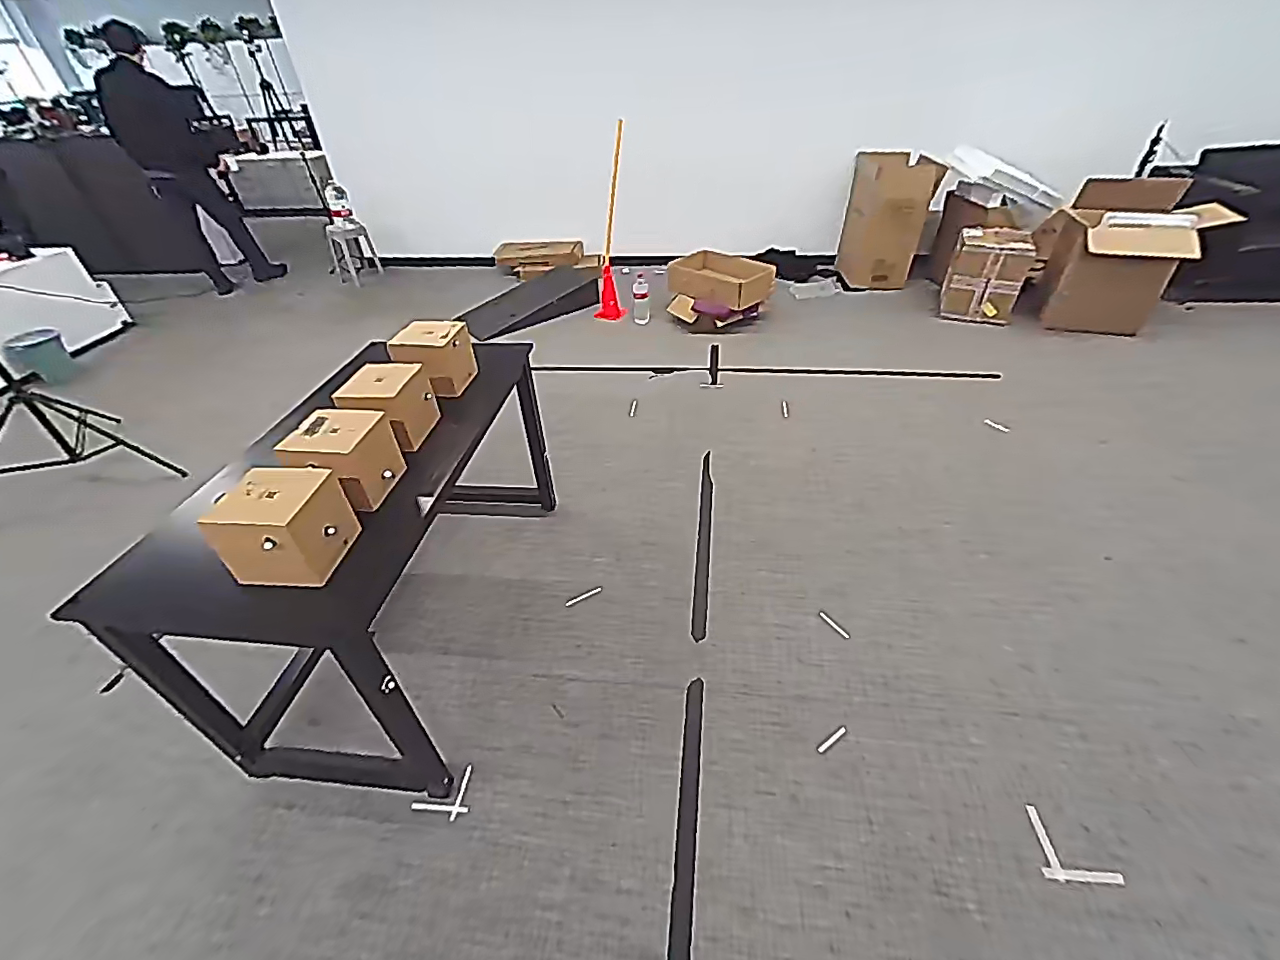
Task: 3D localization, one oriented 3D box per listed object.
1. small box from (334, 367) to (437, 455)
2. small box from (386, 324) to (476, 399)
[{"bbox_3d":[-0.657,-0.184,1.424,0.168,0.176,0.179,0,40,7],"label":"small box"},{"bbox_3d":[-0.621,-0.357,1.632,0.179,0.176,0.168,2,40,8],"label":"small box"}]
